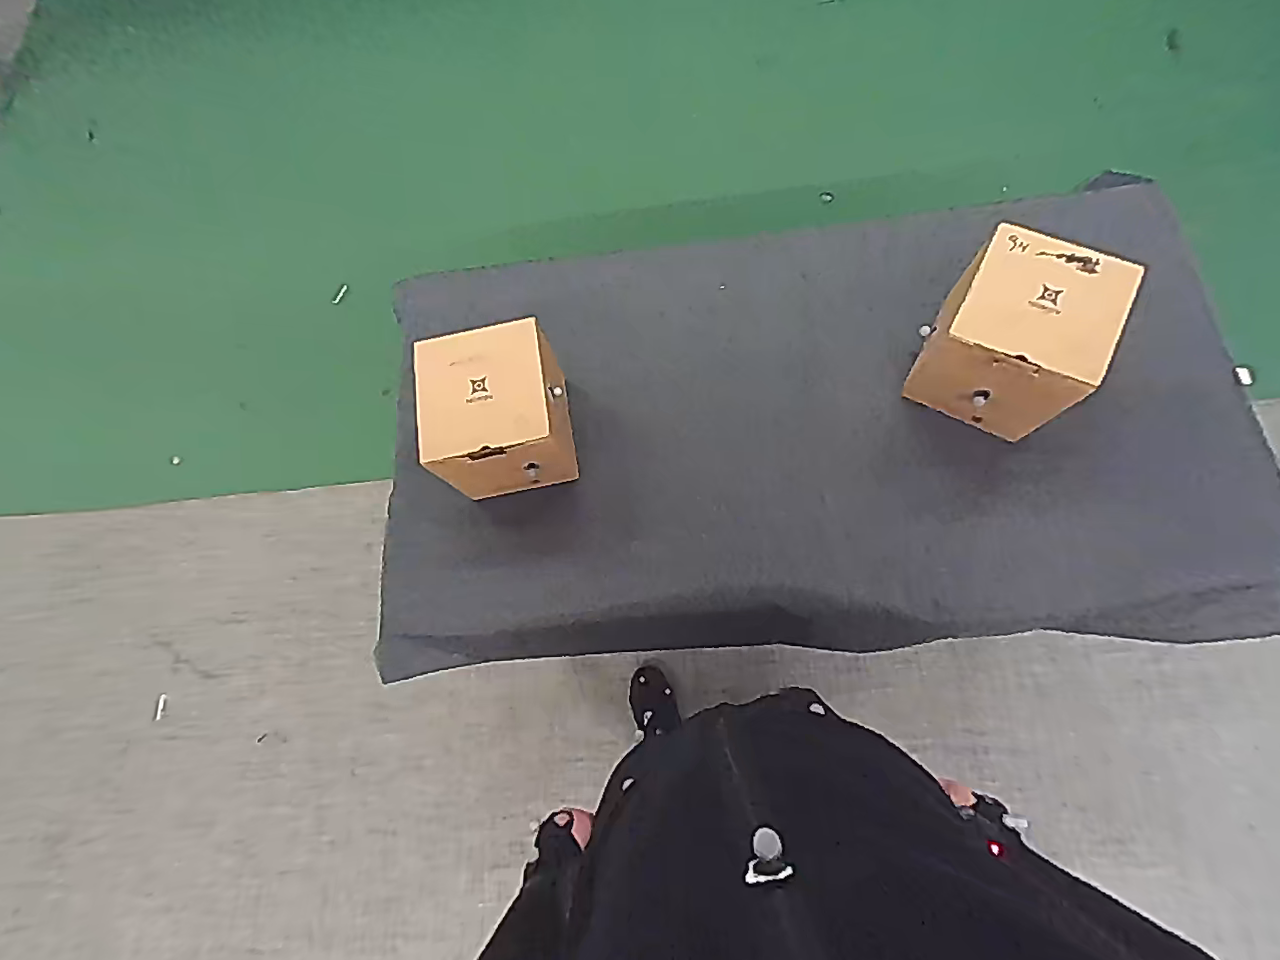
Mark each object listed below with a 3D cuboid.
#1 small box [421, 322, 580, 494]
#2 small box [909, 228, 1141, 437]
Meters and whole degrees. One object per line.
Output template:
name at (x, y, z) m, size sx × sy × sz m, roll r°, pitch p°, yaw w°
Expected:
small box at (-0.188, -0.089, 0.761) m, size 0.168 × 0.176 × 0.179 m, roll -12°, pitch 71°, yaw 1°
small box at (0.482, -0.181, 0.709) m, size 0.168 × 0.176 × 0.179 m, roll 27°, pitch 79°, yaw 13°
